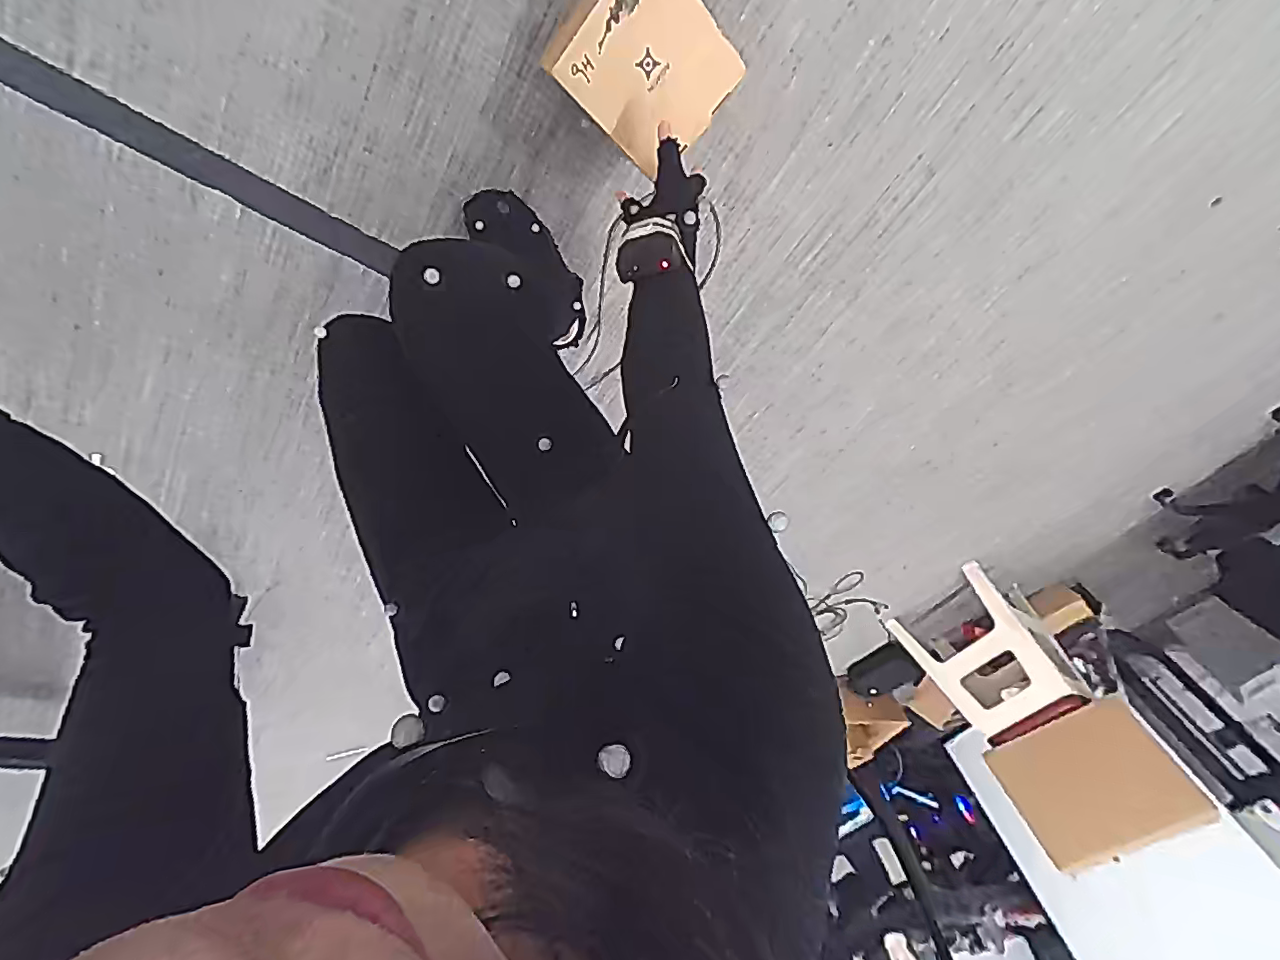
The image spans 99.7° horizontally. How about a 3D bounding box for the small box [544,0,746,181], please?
[{"bbox_3d":[-0.002,-0.527,0.683,0.179,0.176,0.168,30,117,-35],"label":"small box"}]
